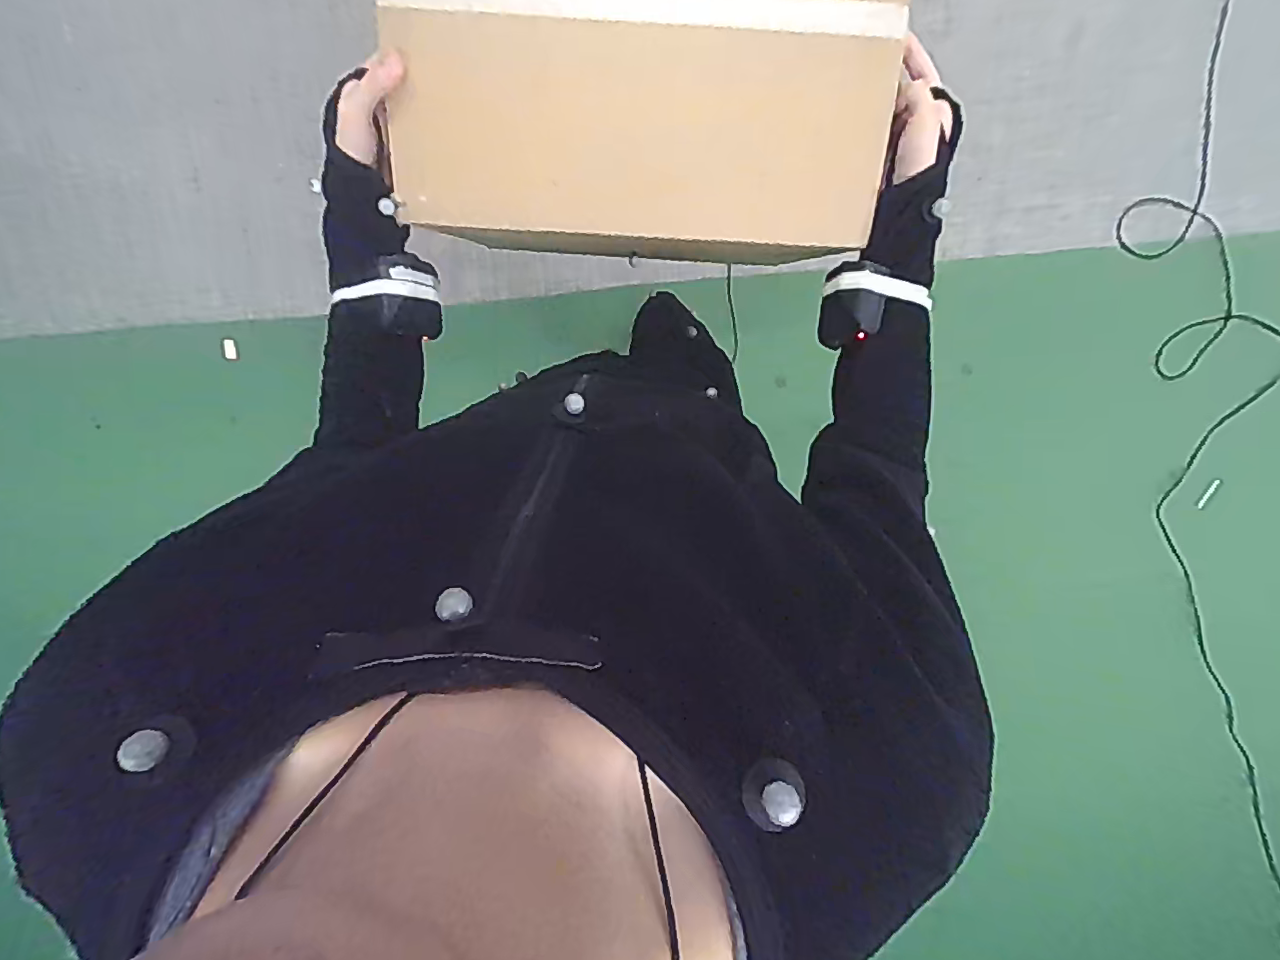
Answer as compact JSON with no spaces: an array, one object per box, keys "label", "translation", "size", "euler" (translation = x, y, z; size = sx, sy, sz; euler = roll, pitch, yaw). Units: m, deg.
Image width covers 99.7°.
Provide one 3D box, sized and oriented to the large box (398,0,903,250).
[{"label":"large box","translation":[0.009,-0.418,0.566],"size":[0.408,0.320,0.320],"euler":[3,109,-1]}]
